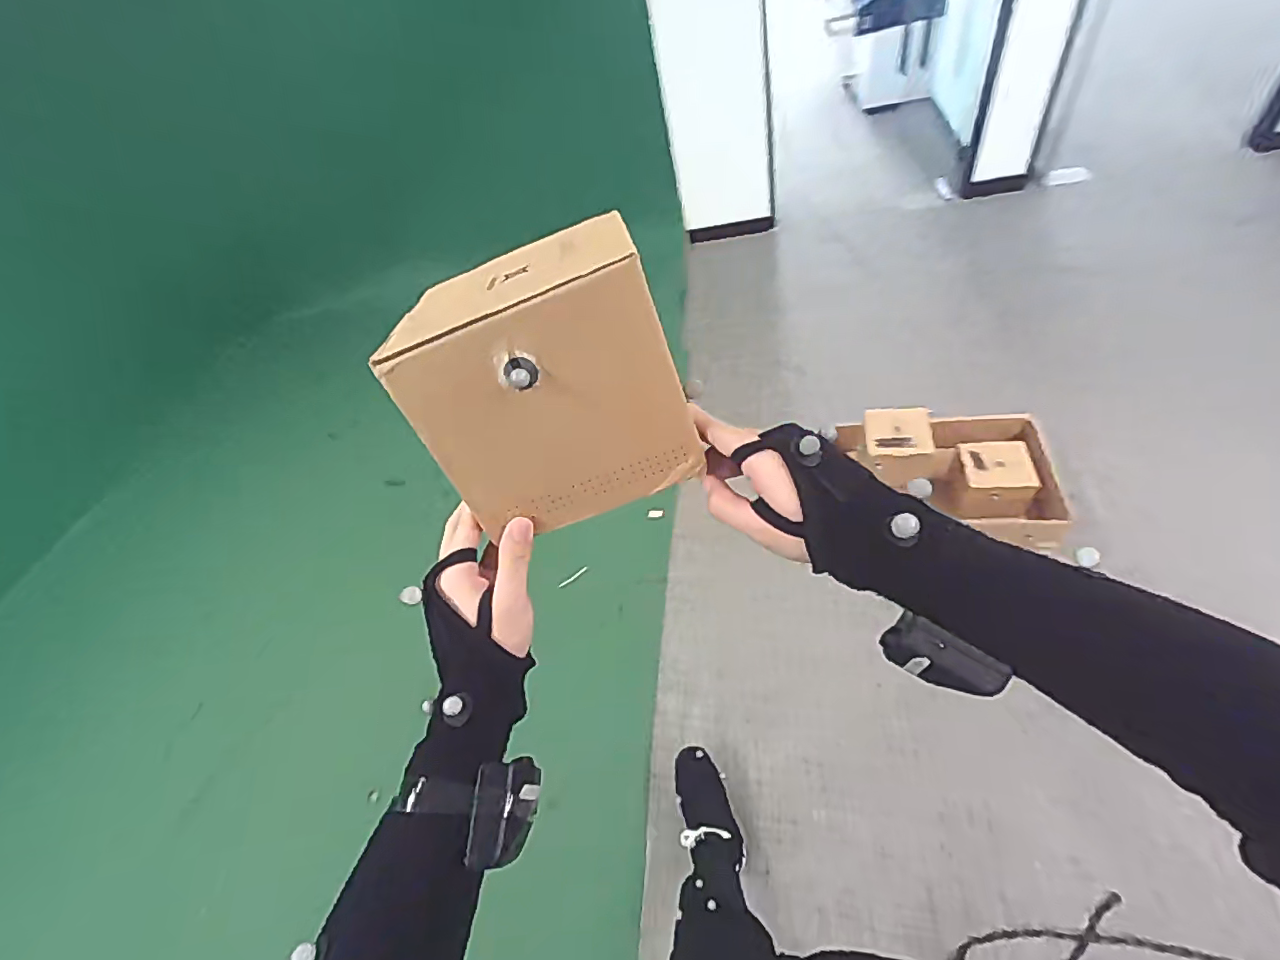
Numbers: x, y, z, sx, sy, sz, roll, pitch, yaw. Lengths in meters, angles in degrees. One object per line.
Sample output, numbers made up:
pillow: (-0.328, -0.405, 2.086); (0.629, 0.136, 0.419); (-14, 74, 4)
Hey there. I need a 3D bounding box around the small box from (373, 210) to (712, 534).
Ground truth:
small box: (-0.059, -0.083, 0.423); (0.179, 0.176, 0.168); (-18, 33, 7)
